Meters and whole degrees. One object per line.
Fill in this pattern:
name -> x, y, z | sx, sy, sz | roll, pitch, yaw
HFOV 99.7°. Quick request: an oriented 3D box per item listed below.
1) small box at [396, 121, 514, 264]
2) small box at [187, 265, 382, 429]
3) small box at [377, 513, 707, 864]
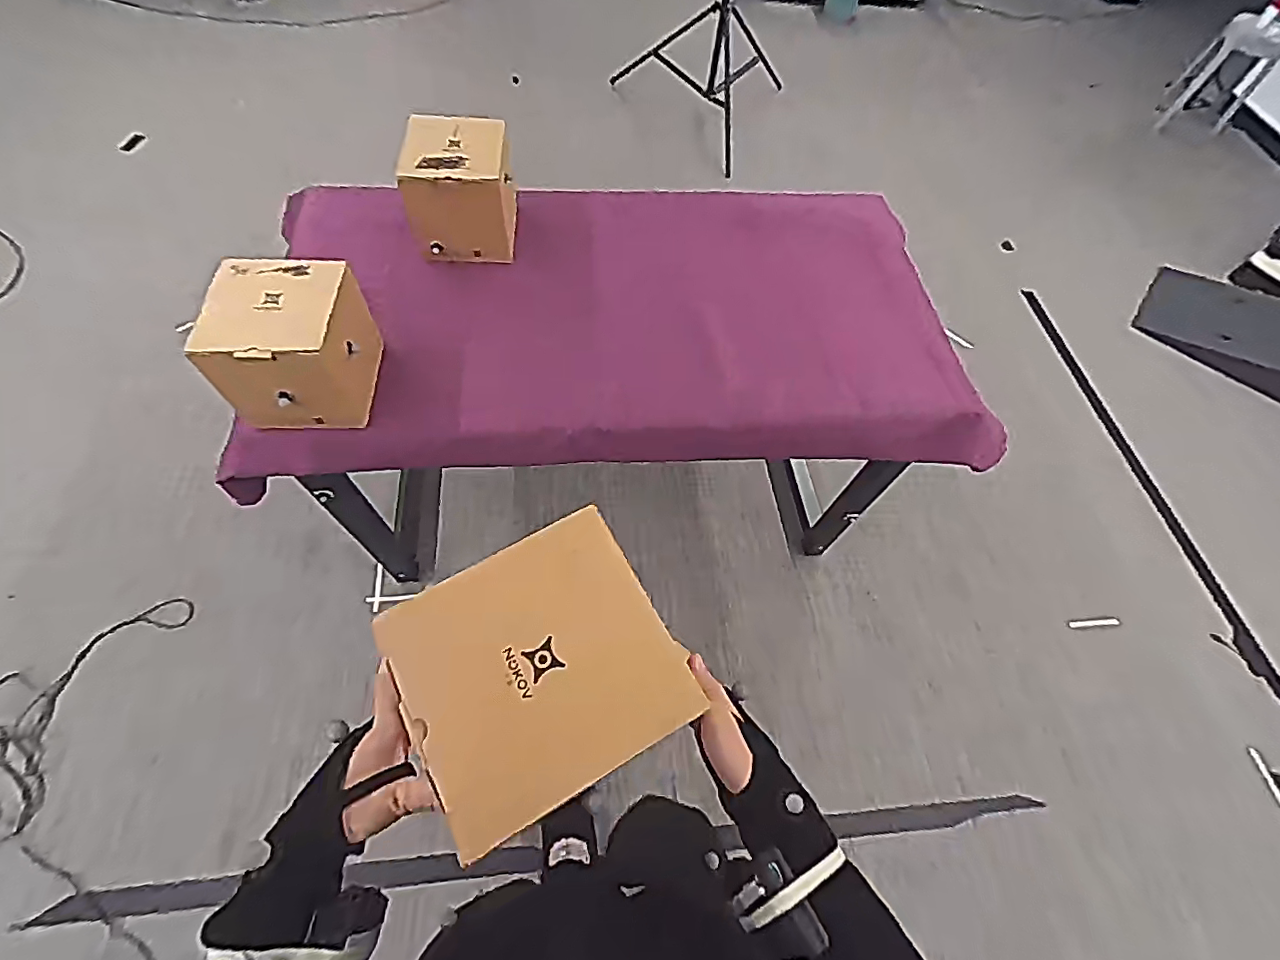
small box -> -0.326, -0.519, 0.991 | 0.168, 0.176, 0.179 | -1, 62, -6
small box -> -0.498, -0.187, 0.791 | 0.168, 0.176, 0.179 | -1, 61, -6
small box -> -0.069, 0.157, 0.439 | 0.179, 0.176, 0.168 | -30, 70, -11
